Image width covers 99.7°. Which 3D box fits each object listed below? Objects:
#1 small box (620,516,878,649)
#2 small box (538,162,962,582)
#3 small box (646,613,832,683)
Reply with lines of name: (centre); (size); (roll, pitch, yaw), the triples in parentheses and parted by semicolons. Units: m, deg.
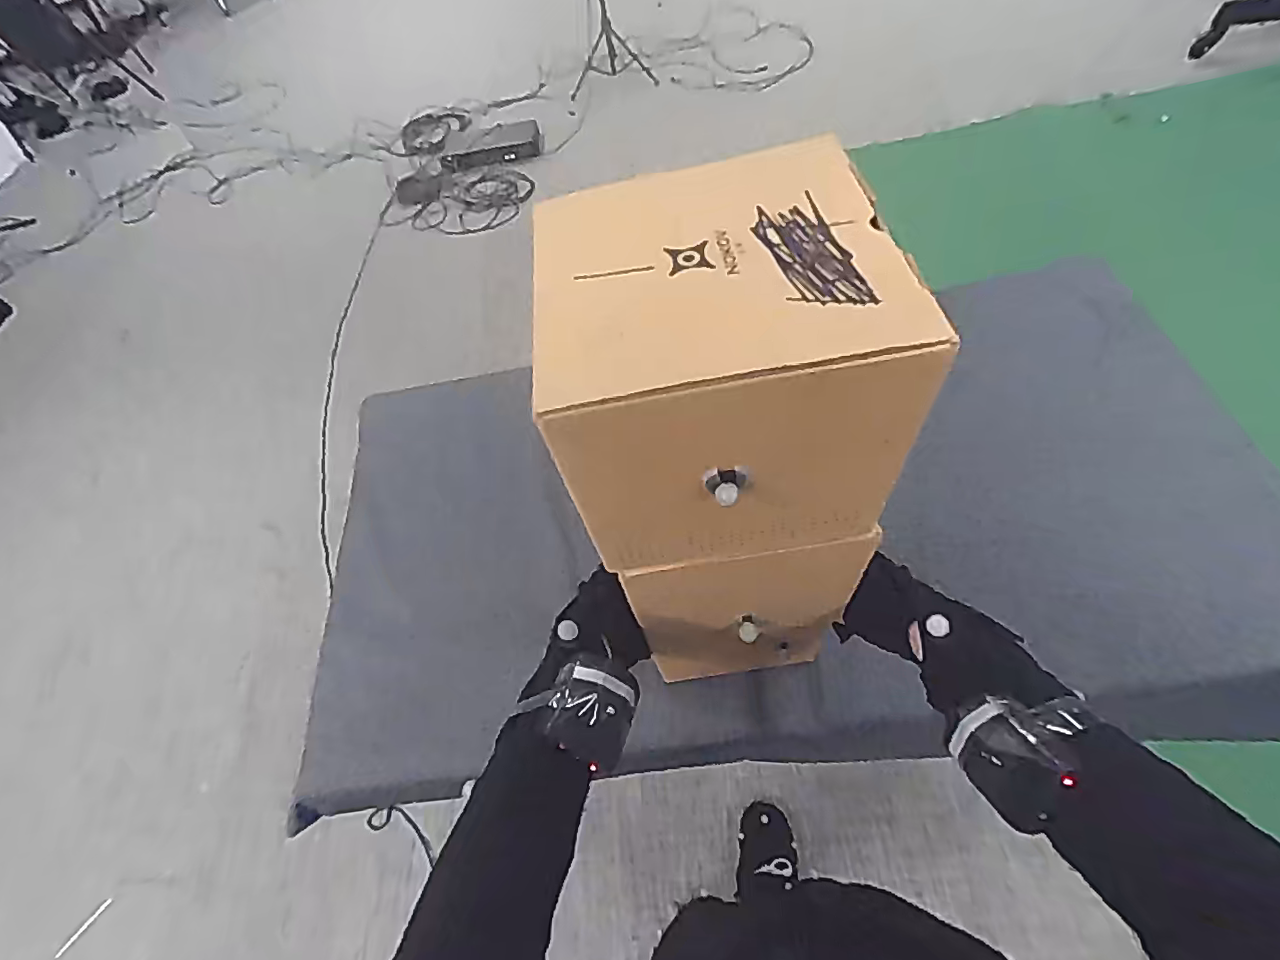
small box: (0.074, 0.034, 0.468); (0.179, 0.176, 0.168); (-10, 56, 3)
small box: (0.046, -0.054, 0.332); (0.179, 0.176, 0.168); (-11, 57, 1)
small box: (0.095, 0.117, 0.608); (0.179, 0.176, 0.168); (-11, 56, 5)
